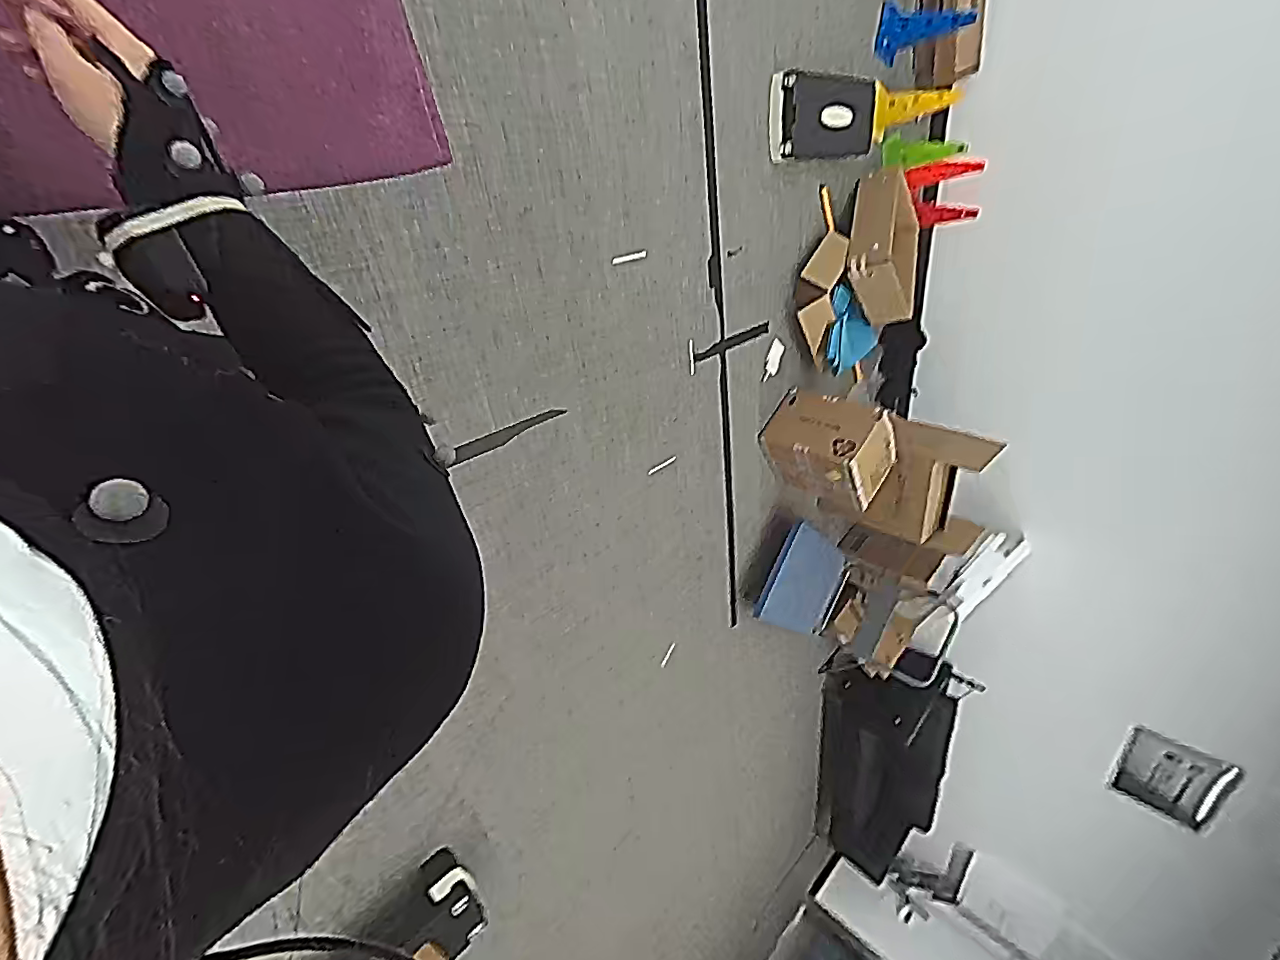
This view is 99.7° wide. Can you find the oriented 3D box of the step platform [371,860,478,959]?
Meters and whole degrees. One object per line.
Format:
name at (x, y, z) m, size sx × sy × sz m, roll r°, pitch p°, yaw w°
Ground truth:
step platform at (-0.872, 1.624, 1.750) m, size 0.684 × 0.204 × 0.286 m, roll -32°, pitch 128°, yaw -36°
